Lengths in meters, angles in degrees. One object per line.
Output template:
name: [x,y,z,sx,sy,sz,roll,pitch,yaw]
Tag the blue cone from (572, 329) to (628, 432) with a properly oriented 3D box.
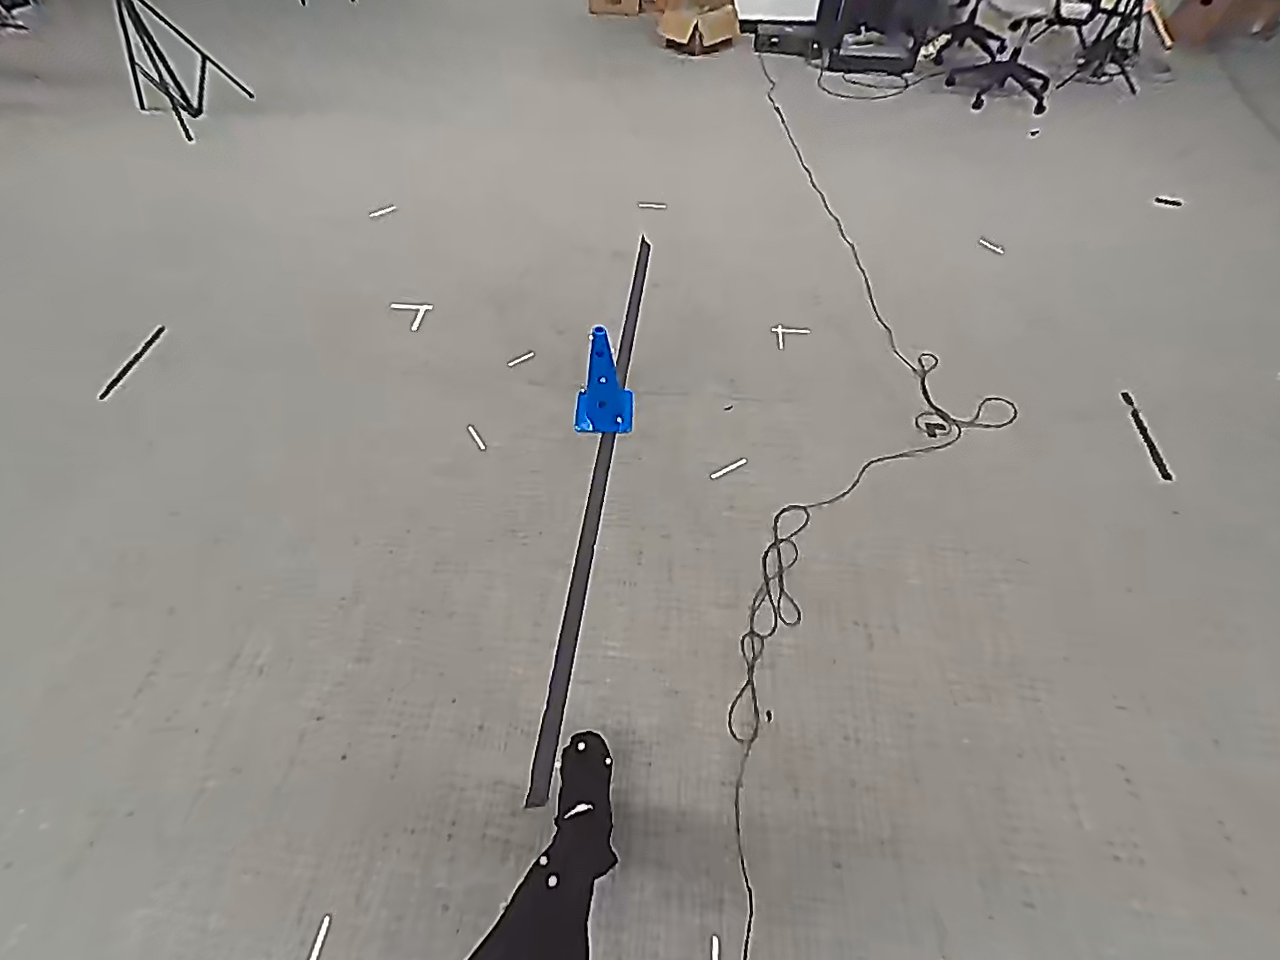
blue cone: [-0.140,-0.336,1.784,0.192,0.380,0.193,2,54,2]
